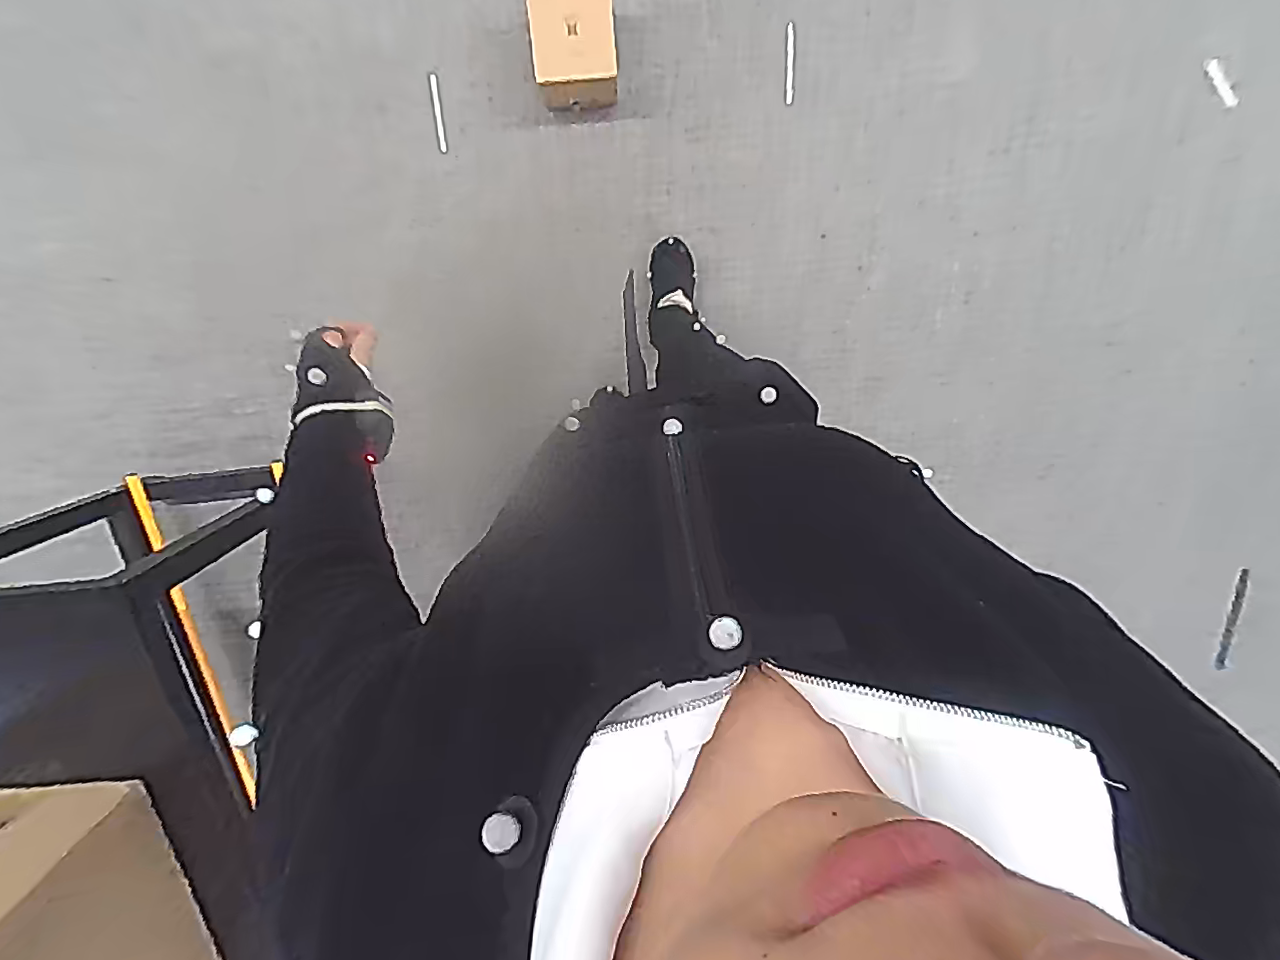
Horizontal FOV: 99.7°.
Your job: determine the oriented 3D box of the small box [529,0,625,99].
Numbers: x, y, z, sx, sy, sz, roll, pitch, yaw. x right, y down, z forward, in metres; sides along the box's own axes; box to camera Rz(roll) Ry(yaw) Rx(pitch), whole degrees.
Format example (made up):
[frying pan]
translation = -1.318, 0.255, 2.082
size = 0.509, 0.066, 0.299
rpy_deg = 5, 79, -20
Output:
[small box]
translation = -0.119, -0.869, 1.041
size = 0.168, 0.176, 0.179
rpy_deg = -6, 110, 1
